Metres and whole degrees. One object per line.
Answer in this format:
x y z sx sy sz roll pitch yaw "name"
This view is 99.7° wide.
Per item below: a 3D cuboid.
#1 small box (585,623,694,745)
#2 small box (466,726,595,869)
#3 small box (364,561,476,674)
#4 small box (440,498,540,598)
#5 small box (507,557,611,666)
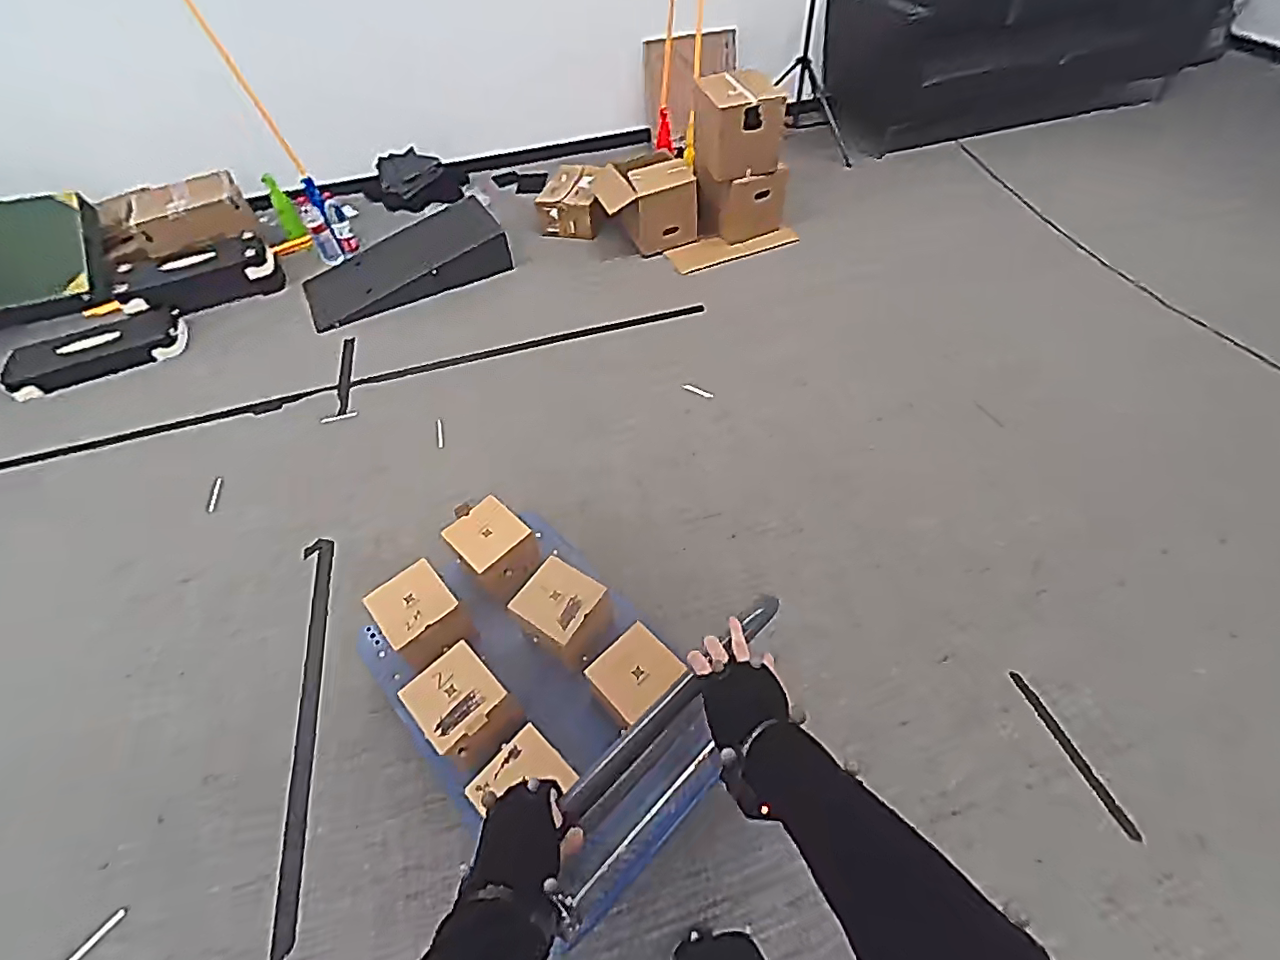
0.002 0.459 1.198 0.168 0.176 0.179 -38 59 -24 "small box"
-0.207 0.630 1.073 0.179 0.176 0.168 35 60 26 "small box"
-0.530 0.338 1.317 0.168 0.176 0.179 -37 60 -23 "small box"
-0.389 0.187 1.431 0.179 0.176 0.168 35 62 26 "small box"
-0.187 0.325 1.311 0.179 0.176 0.168 26 58 22 "small box"
